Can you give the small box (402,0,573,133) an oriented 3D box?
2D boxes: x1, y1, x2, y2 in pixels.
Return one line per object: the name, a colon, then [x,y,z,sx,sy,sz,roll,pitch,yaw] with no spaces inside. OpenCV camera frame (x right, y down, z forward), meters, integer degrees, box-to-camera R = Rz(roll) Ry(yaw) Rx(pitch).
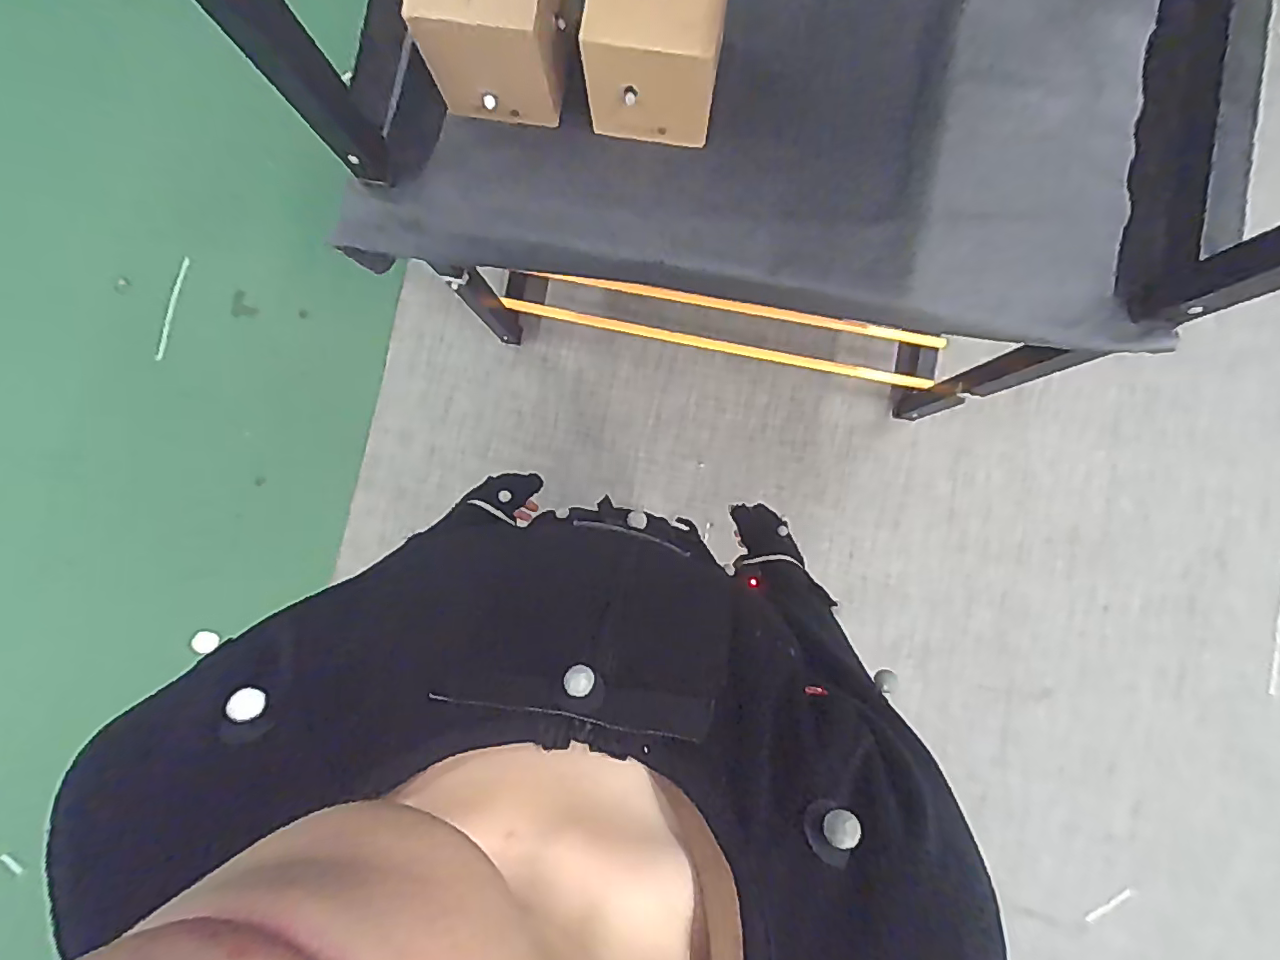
small box: [-0.191,-0.619,0.732,0.168,0.176,0.179,9,87,3]
